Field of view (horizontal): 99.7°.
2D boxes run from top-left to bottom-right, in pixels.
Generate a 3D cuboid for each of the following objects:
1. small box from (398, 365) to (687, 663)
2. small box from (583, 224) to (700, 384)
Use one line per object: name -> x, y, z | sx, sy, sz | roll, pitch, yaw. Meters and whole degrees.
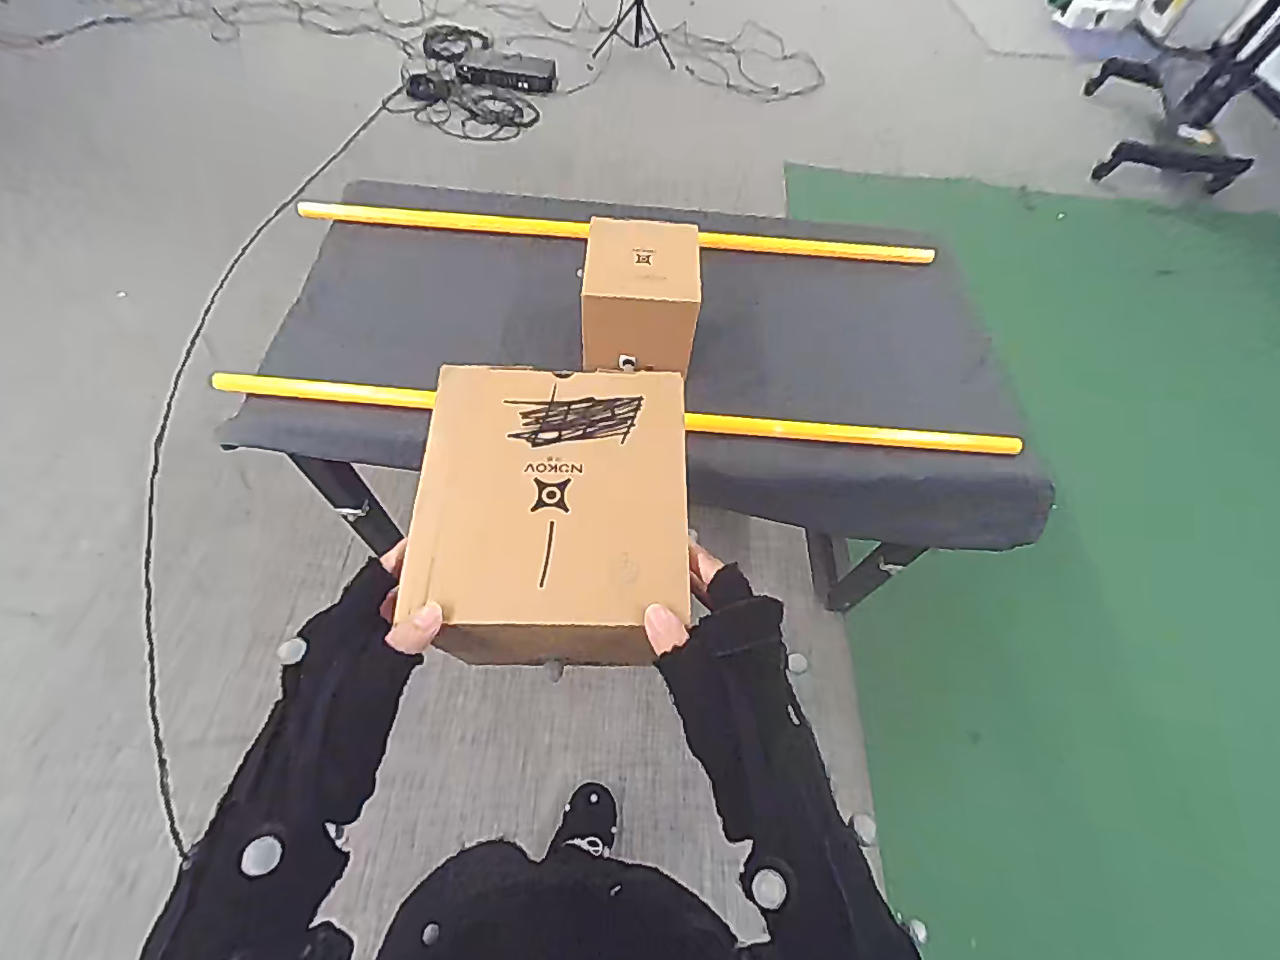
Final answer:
small box -> -0.057, 0.035, 0.412 | 0.168, 0.176, 0.179 | 1, 64, -1
small box -> -0.001, -0.271, 0.853 | 0.168, 0.176, 0.179 | 2, 60, -2
